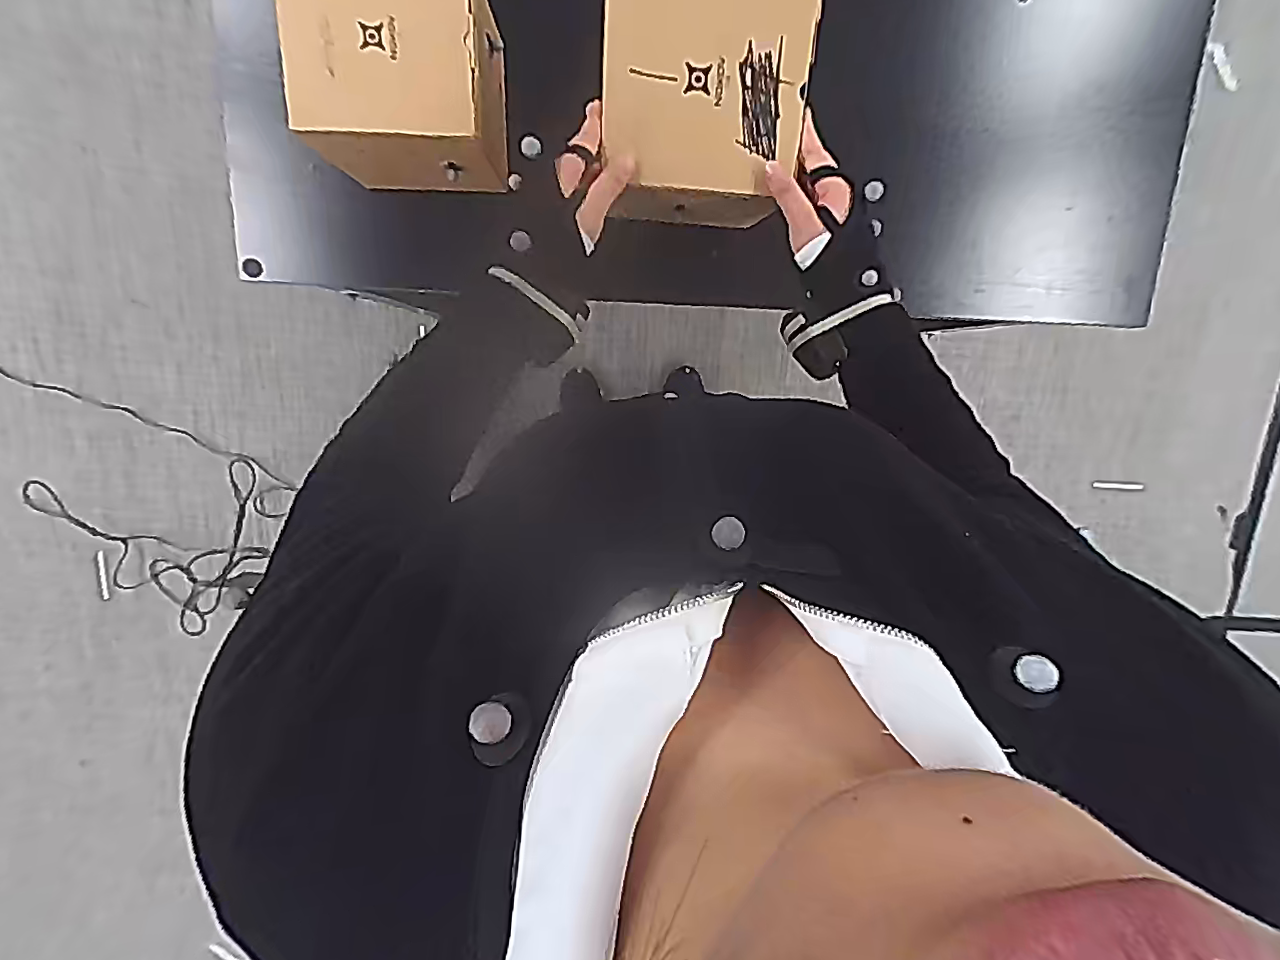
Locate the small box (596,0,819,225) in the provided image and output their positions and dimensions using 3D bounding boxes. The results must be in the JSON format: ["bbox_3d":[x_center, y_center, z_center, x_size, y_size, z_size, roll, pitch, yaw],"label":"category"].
[{"bbox_3d":[0.049,-0.353,0.527,0.179,0.176,0.168,3,107,-4],"label":"small box"}]

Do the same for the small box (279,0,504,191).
[{"bbox_3d":[-0.245,-0.425,0.578,0.179,0.176,0.168,-1,101,-3],"label":"small box"}]
